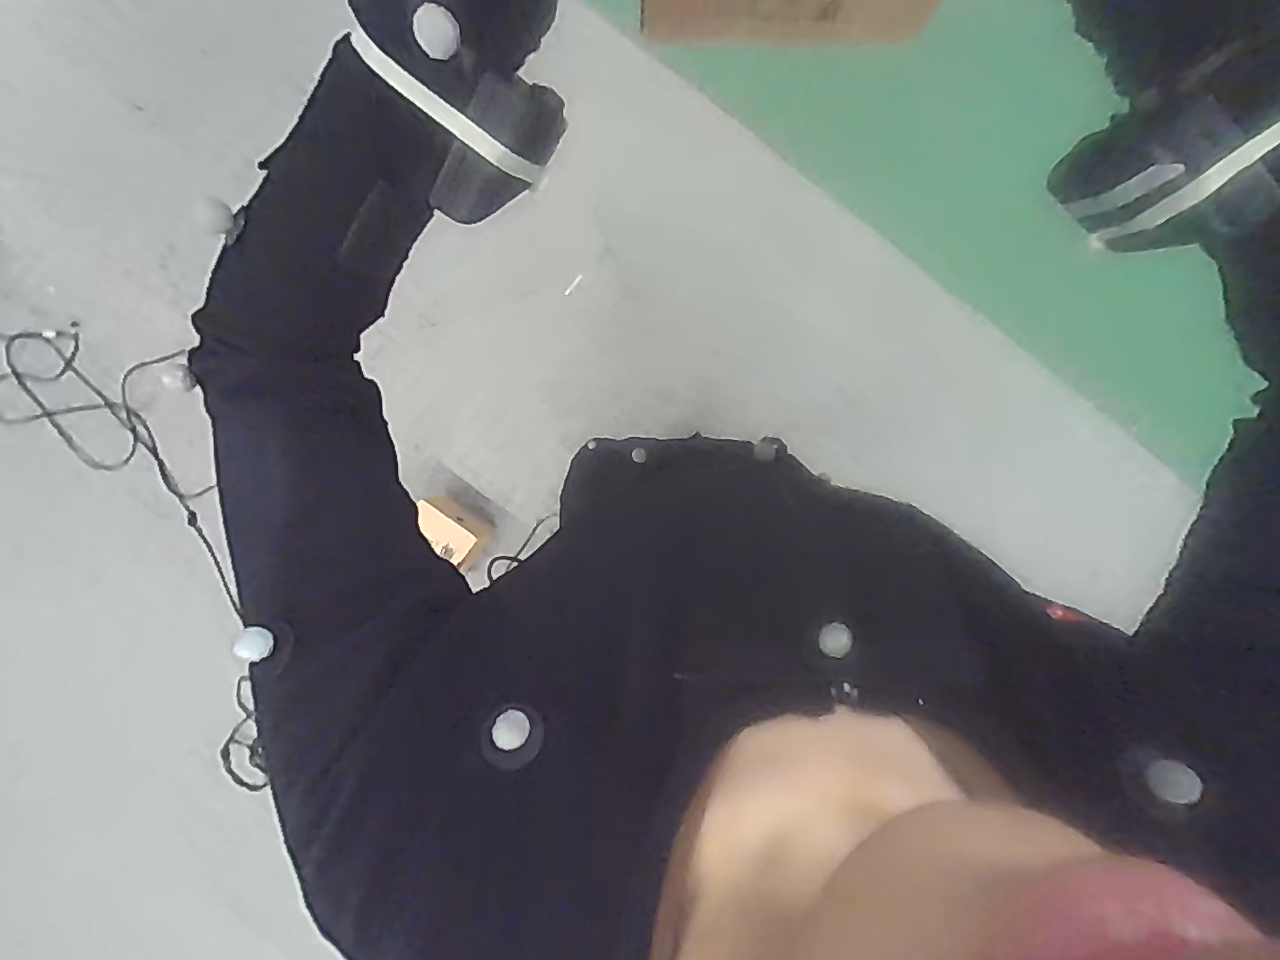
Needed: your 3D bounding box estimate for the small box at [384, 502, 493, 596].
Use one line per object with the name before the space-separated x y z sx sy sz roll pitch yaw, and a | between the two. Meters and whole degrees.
small box | -0.509 0.167 1.398 0.179 0.176 0.168 35 92 0
